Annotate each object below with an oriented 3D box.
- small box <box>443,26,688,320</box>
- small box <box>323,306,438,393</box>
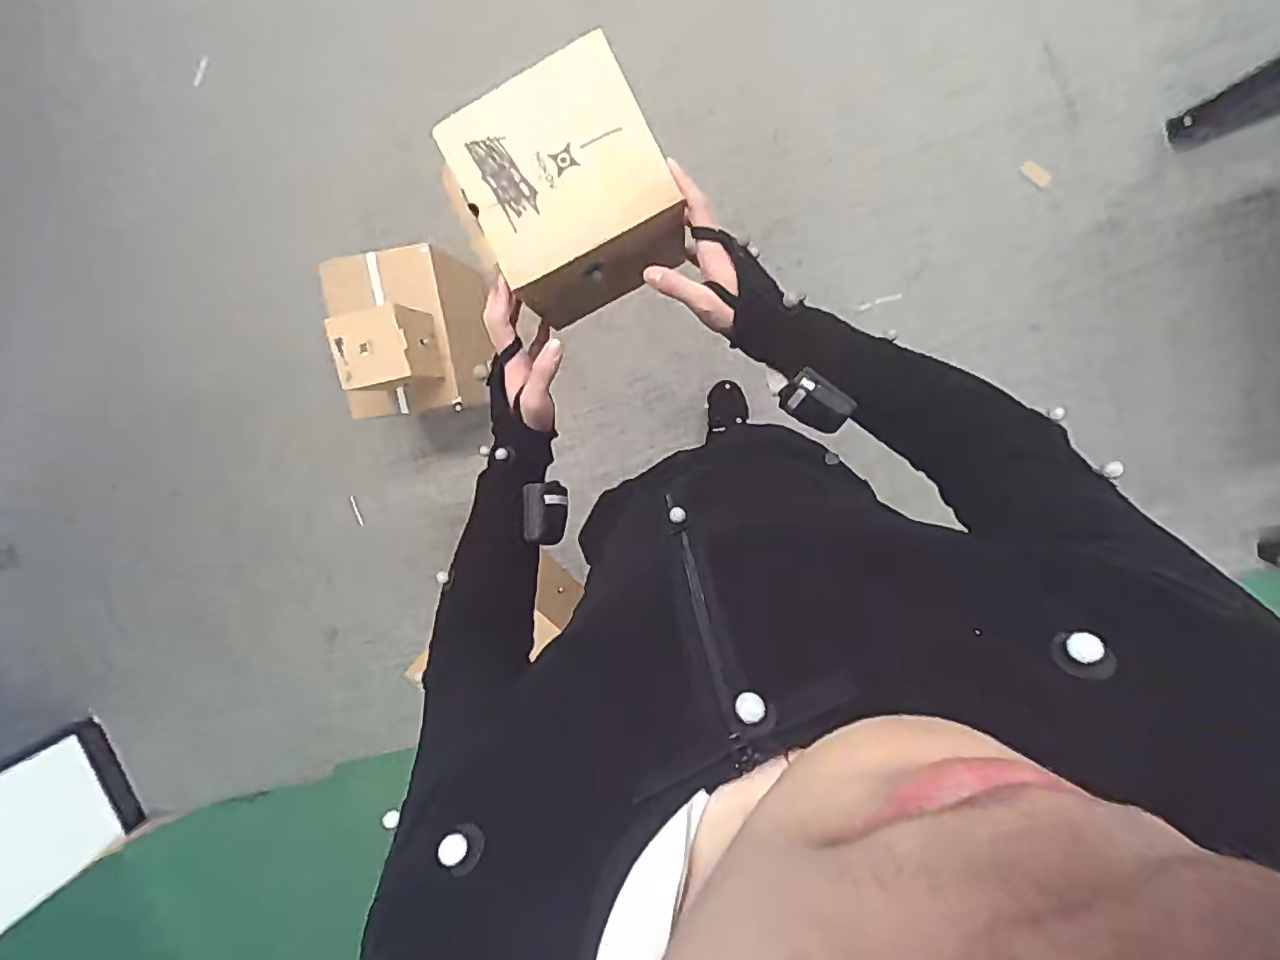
[{"bbox_3d":[-0.060,-0.288,0.555,0.179,0.176,0.168,-26,91,6],"label":"small box"},{"bbox_3d":[-0.604,-0.307,1.289,0.179,0.176,0.168,-11,98,8],"label":"small box"}]
